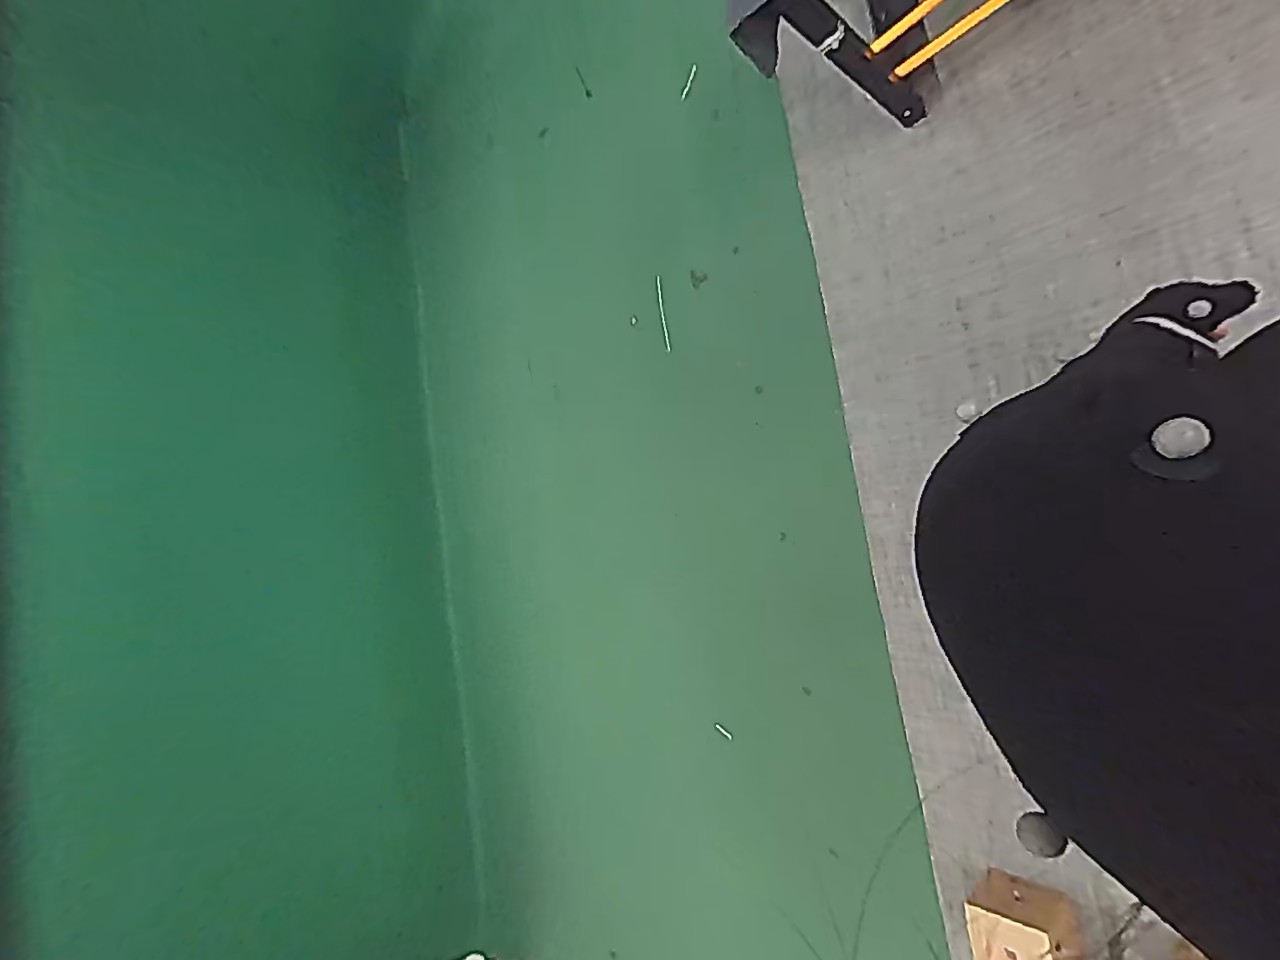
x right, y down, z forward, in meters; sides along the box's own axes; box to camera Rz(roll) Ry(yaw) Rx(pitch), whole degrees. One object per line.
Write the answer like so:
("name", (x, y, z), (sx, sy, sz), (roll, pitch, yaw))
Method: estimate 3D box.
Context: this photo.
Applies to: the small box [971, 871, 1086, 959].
("small box", (0.889, 1.045, 1.235), (0.168, 0.176, 0.179), (-15, 81, 49))
